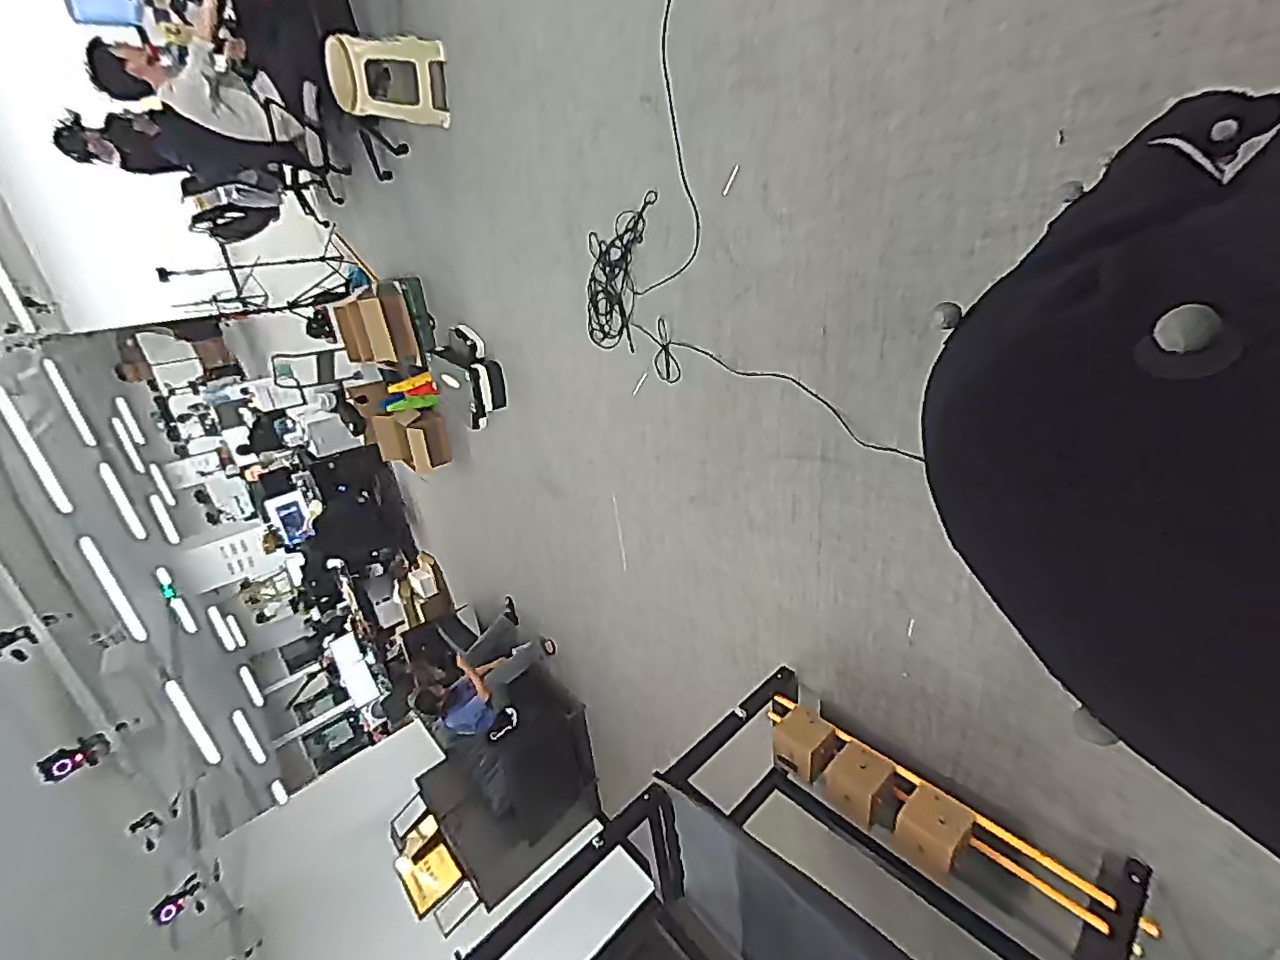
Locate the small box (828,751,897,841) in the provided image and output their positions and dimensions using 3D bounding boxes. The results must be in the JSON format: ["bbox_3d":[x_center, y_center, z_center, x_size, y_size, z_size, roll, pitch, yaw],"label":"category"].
[{"bbox_3d":[0.776,1.089,1.881,0.168,0.176,0.179,18,122,46],"label":"small box"}]

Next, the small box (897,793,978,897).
[{"bbox_3d":[0.938,1.139,1.702,0.168,0.176,0.179,20,123,47],"label":"small box"}]
